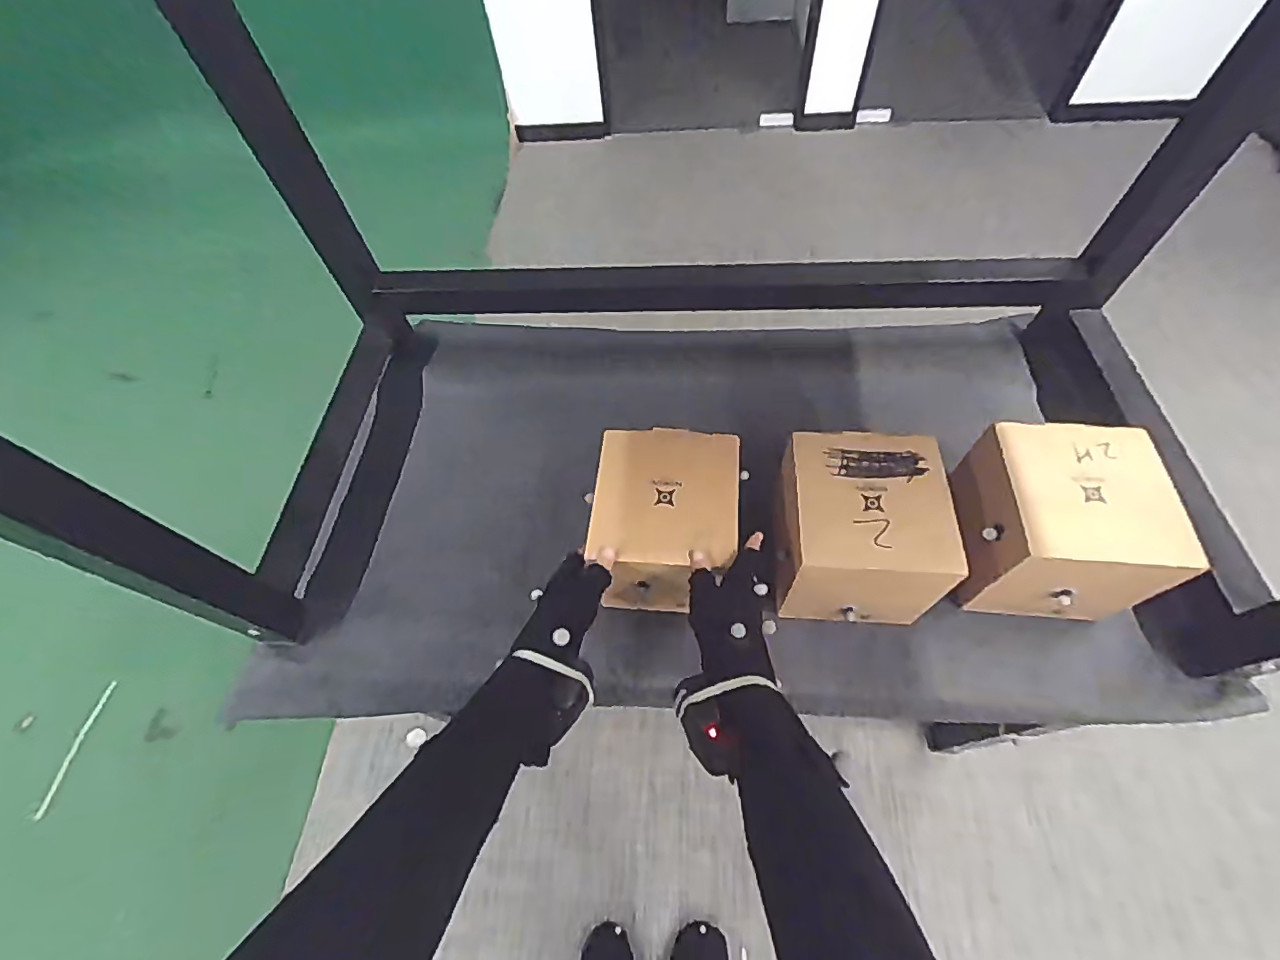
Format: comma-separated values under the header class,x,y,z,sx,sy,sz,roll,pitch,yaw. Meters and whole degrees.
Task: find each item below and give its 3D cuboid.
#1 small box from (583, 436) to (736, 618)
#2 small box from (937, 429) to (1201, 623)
class,x,y,z,sx,sy,sz,roll,pitch,yaw
small box,0.034,0.065,0.685,0.168,0.176,0.179,2,57,7
small box,0.485,0.061,0.649,0.168,0.176,0.179,4,57,7
